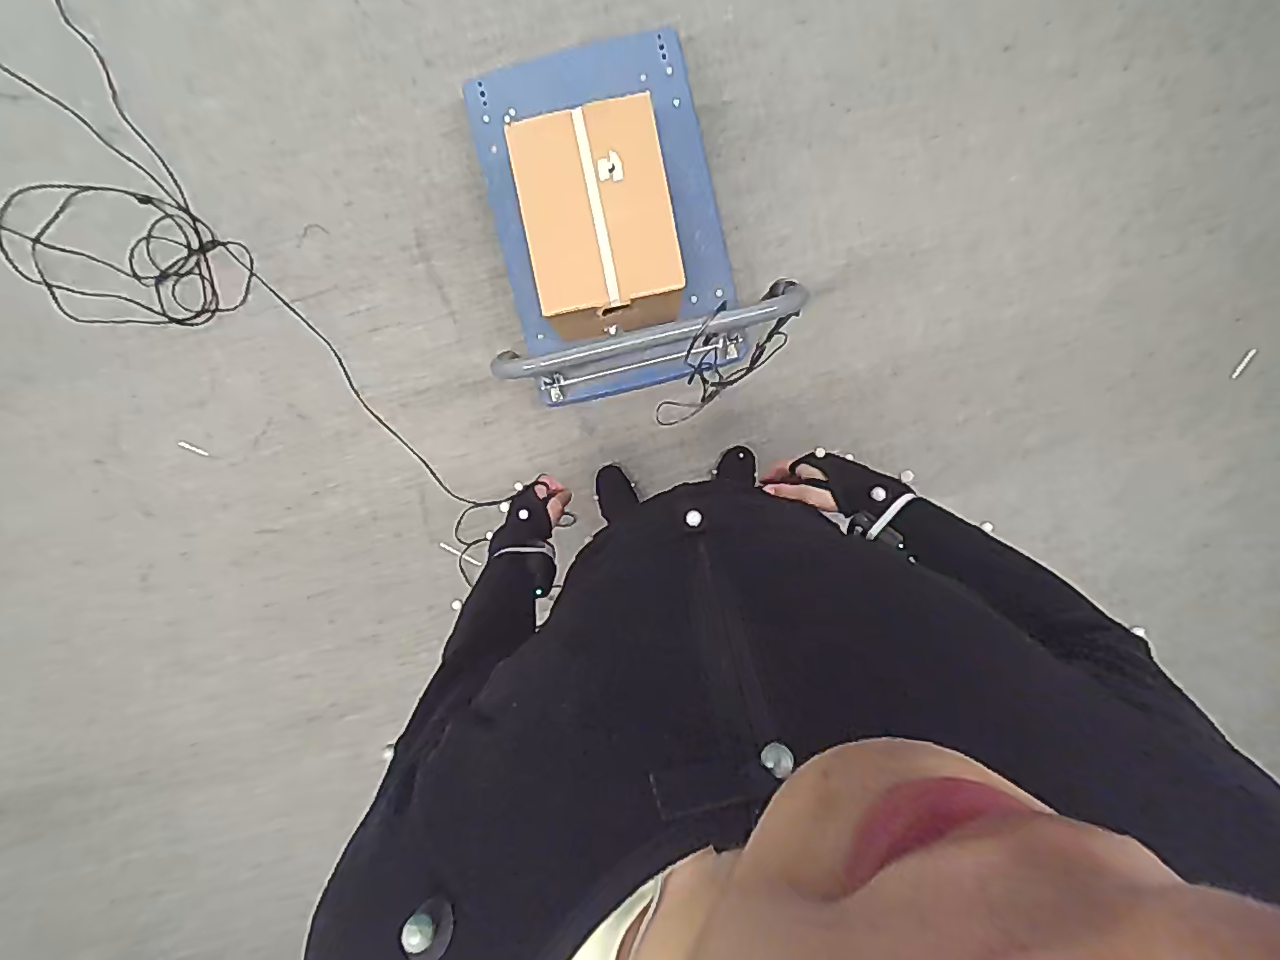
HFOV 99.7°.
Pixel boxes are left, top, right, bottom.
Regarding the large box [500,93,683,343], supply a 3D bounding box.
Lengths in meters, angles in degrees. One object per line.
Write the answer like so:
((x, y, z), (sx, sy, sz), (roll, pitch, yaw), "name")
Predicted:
((-0.095, -0.576, 1.266), (0.320, 0.320, 0.408), (-11, 93, 1), "large box")
